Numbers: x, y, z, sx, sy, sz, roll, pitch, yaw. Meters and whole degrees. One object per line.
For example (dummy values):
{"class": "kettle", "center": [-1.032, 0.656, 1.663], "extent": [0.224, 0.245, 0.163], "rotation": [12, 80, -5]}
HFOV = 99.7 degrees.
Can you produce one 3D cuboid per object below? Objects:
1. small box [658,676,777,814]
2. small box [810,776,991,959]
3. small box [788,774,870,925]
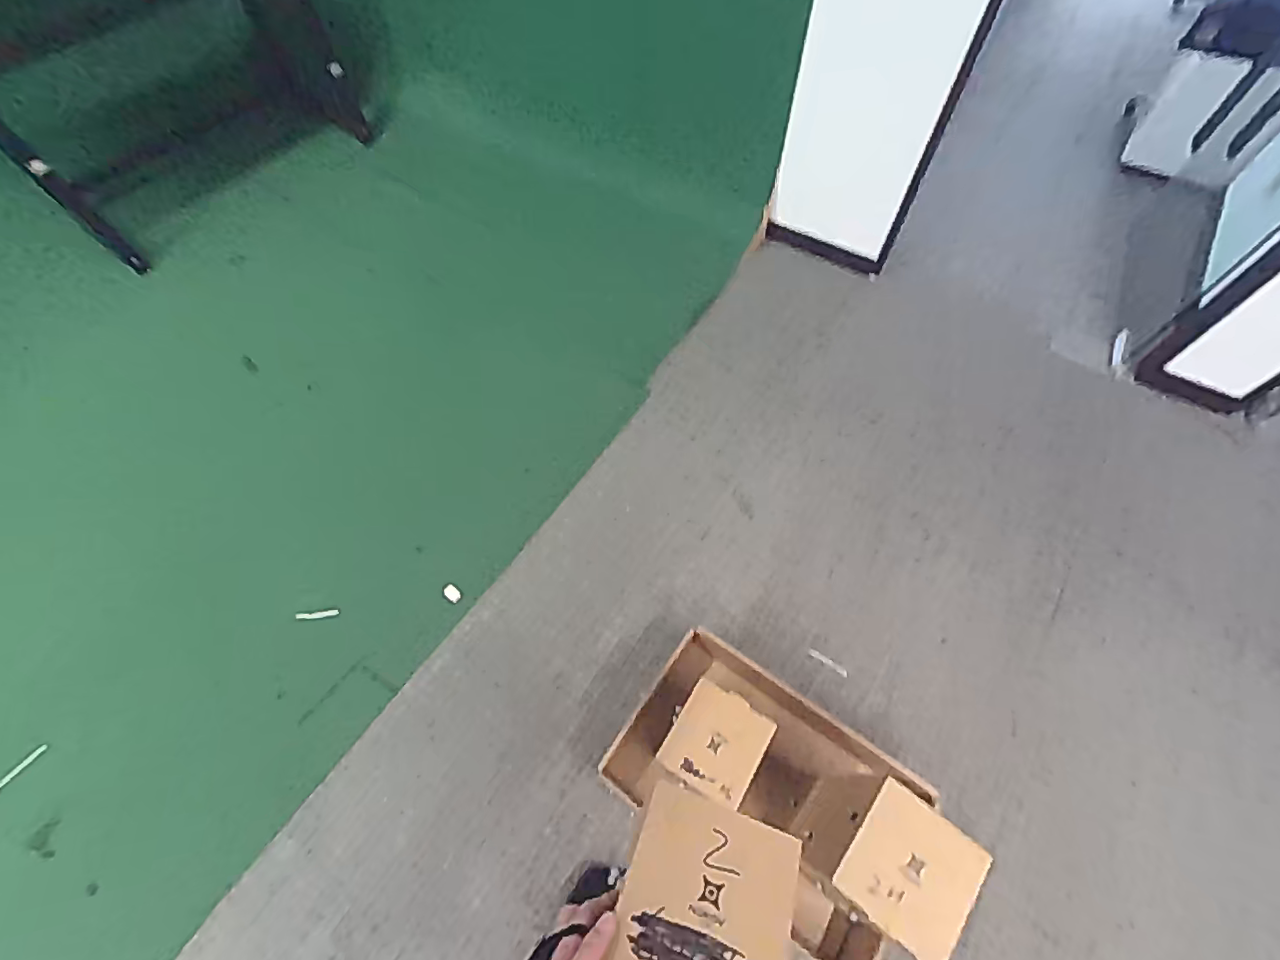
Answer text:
{"class": "small box", "center": [0.145, 0.521, 1.068], "extent": [0.168, 0.176, 0.179], "rotation": [29, 65, 17]}
{"class": "small box", "center": [0.389, 0.590, 0.840], "extent": [0.168, 0.176, 0.179], "rotation": [36, 69, 19]}
{"class": "small box", "center": [0.394, 0.666, 0.987], "extent": [0.168, 0.176, 0.179], "rotation": [36, 69, 18]}
